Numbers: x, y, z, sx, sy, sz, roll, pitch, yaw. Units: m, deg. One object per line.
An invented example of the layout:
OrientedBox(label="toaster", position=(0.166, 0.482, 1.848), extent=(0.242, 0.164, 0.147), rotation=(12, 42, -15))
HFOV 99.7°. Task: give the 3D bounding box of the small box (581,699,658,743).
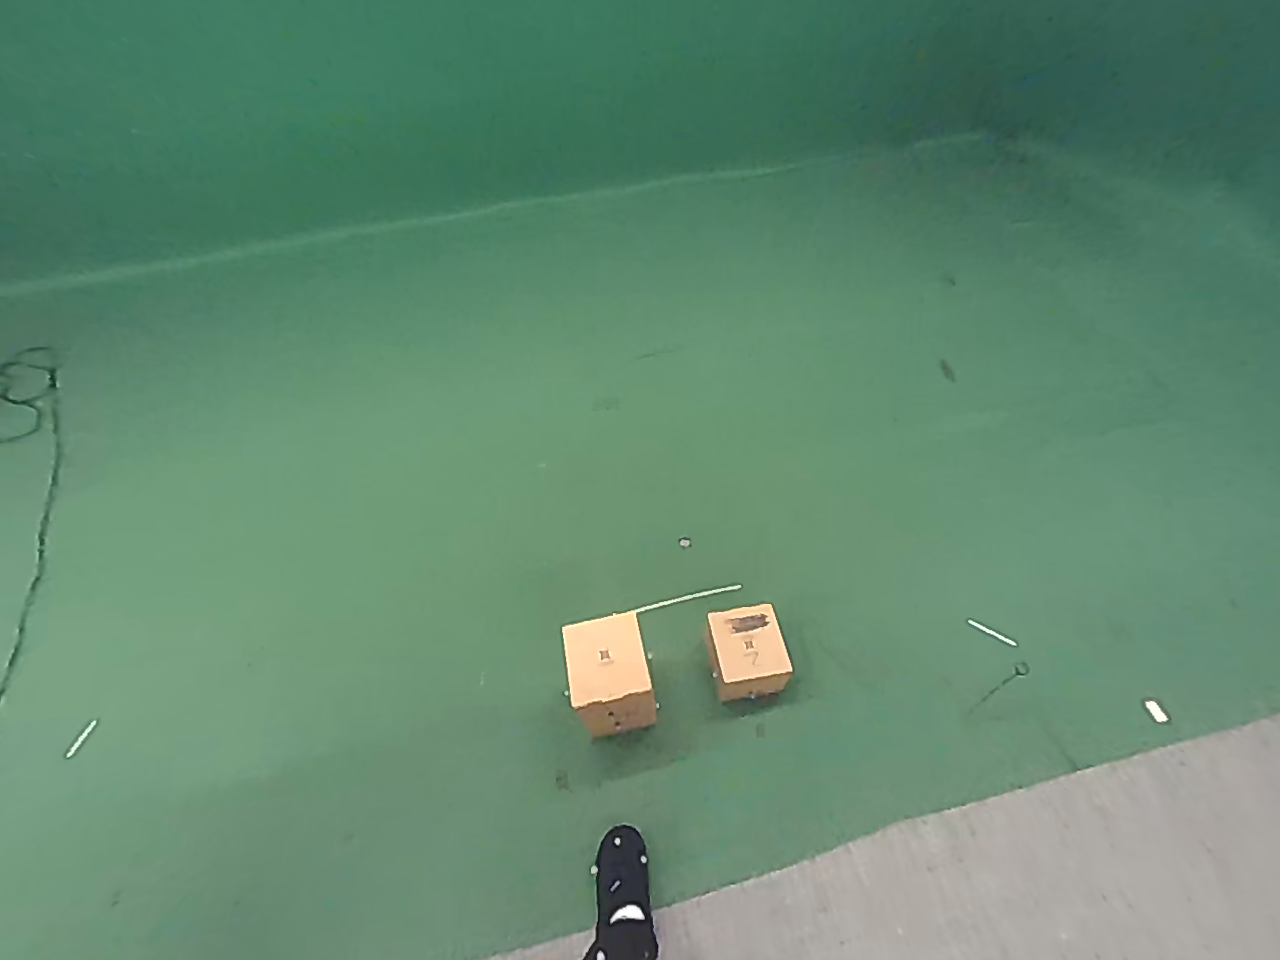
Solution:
OrientedBox(label="small box", position=(-0.057, 0.526, 1.327), extent=(0.179, 0.176, 0.168), rotation=(-12, 53, -4))

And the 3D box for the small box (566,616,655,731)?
OrientedBox(label="small box", position=(-0.064, 0.429, 1.195), extent=(0.168, 0.176, 0.179), rotation=(-12, 53, -5))
